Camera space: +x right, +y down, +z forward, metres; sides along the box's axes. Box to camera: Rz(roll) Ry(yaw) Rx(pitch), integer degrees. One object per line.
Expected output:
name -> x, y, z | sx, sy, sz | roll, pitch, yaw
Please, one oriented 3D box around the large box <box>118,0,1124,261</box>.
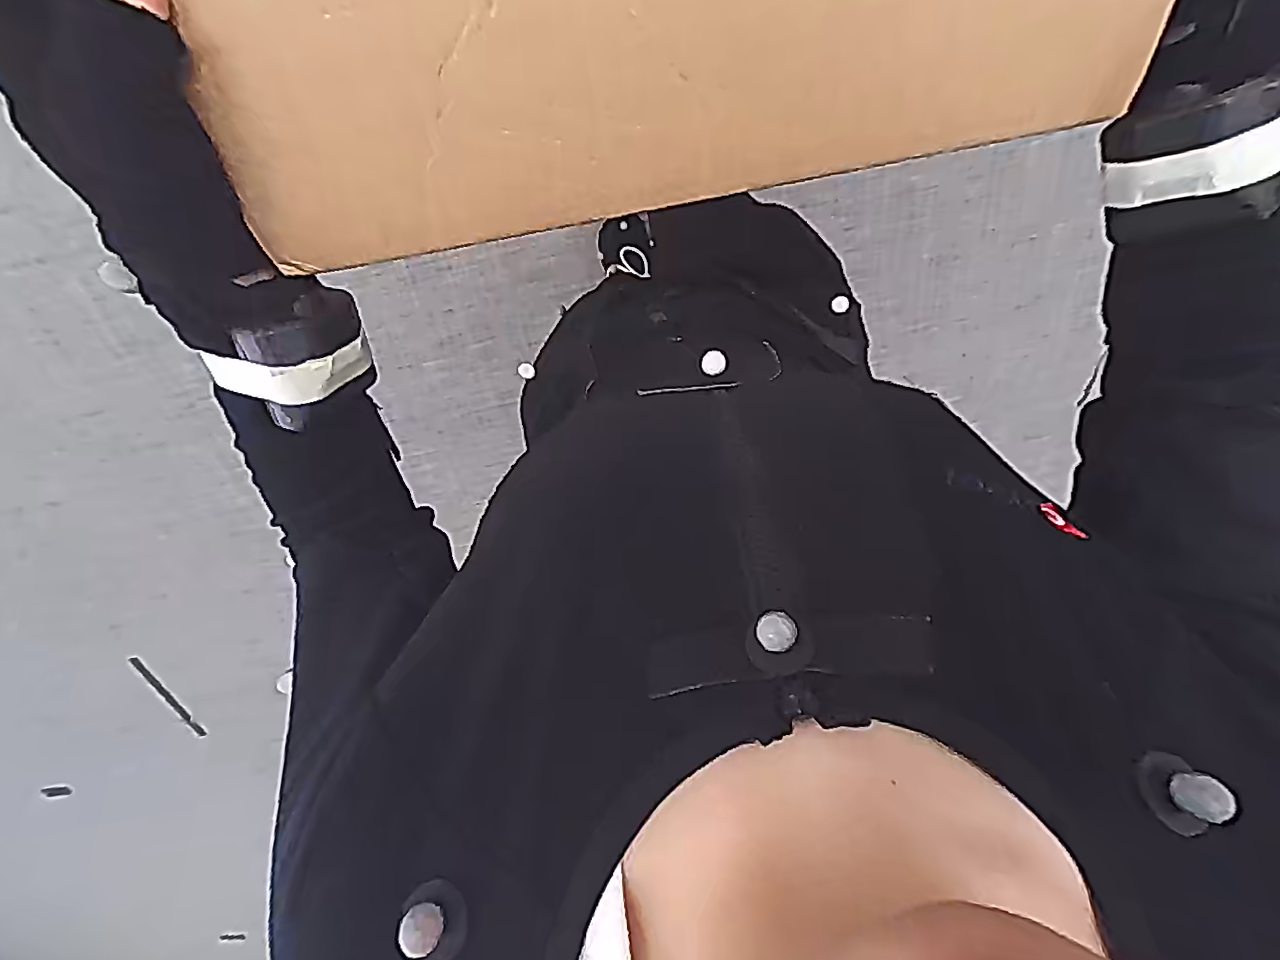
large box -> -0.017, -0.355, 0.256 | 0.408, 0.320, 0.320 | -10, 136, 2
